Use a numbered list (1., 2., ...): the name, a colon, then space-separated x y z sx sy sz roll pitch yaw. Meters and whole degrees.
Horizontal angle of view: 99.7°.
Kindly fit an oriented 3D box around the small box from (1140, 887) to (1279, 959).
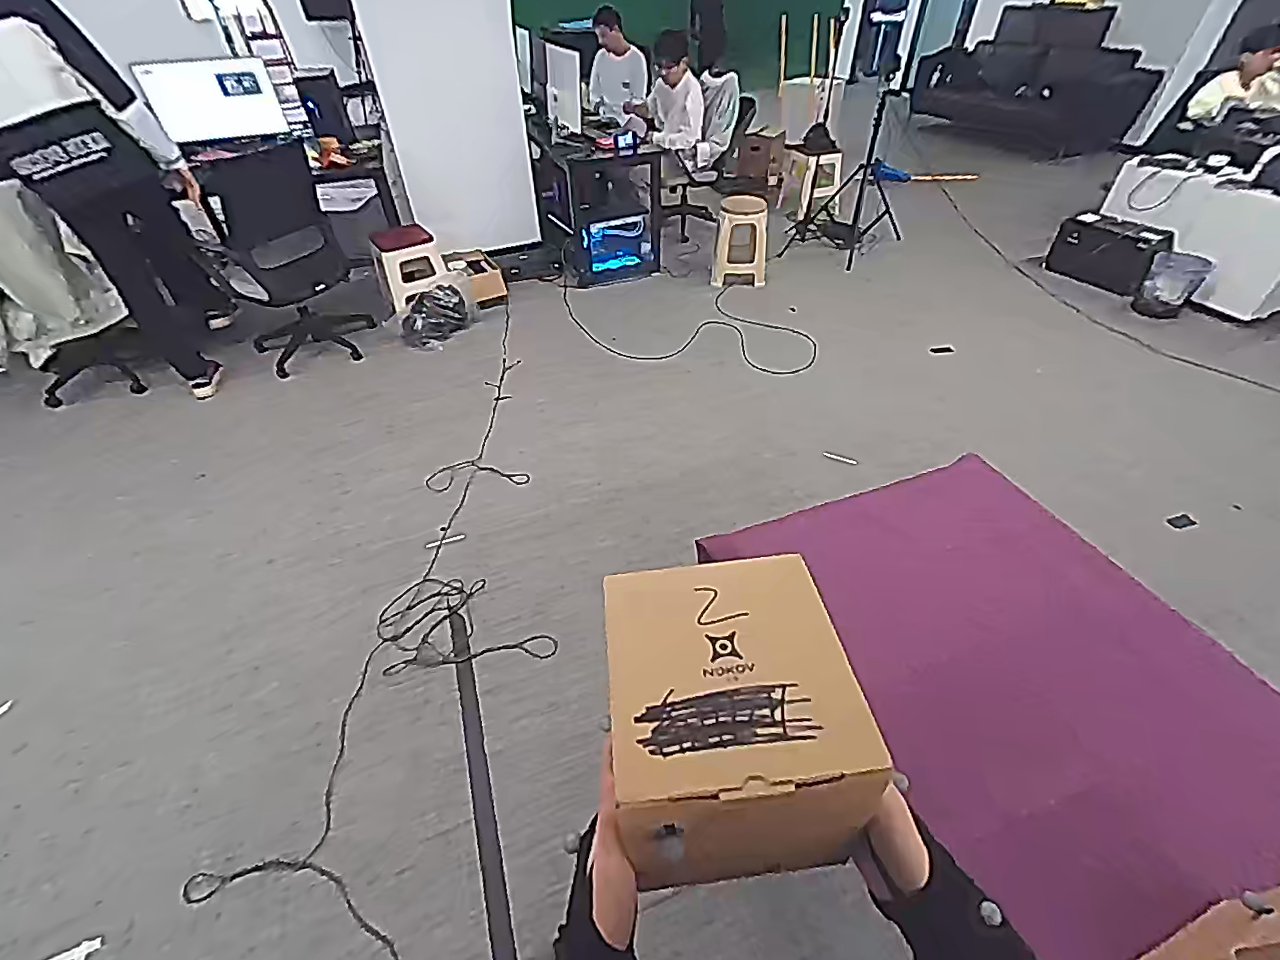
1. small box: 0.613 0.495 0.484 0.179 0.176 0.168 -15 45 -15
